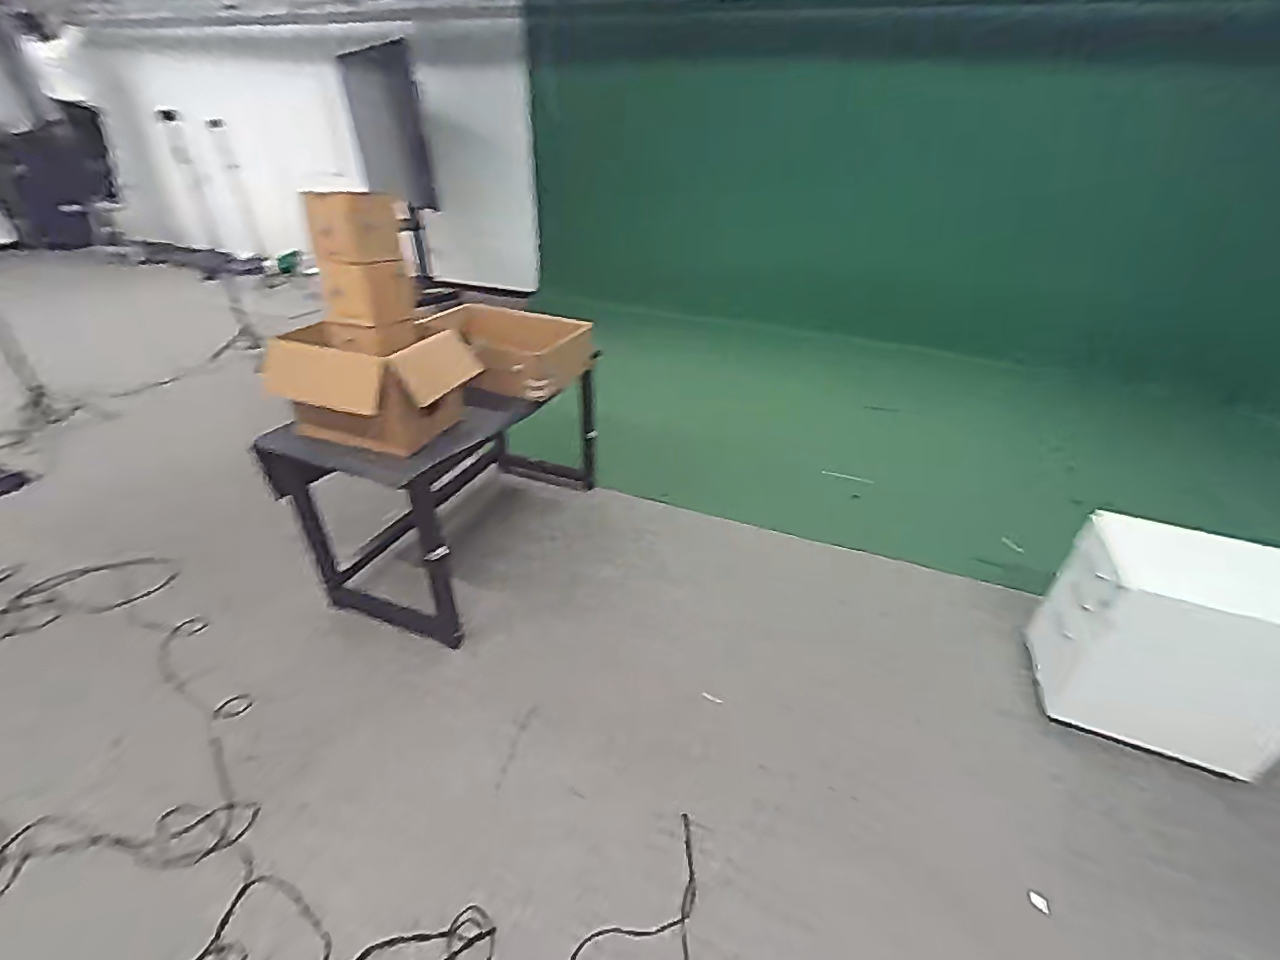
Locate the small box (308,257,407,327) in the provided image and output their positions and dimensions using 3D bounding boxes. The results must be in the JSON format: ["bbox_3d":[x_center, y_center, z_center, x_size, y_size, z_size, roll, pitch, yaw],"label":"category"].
[{"bbox_3d":[-0.795,-0.542,1.543,0.168,0.176,0.179,12,29,17],"label":"small box"}]

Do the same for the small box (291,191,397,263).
[{"bbox_3d":[-0.791,-0.687,1.466,0.168,0.176,0.179,13,30,18],"label":"small box"}]
